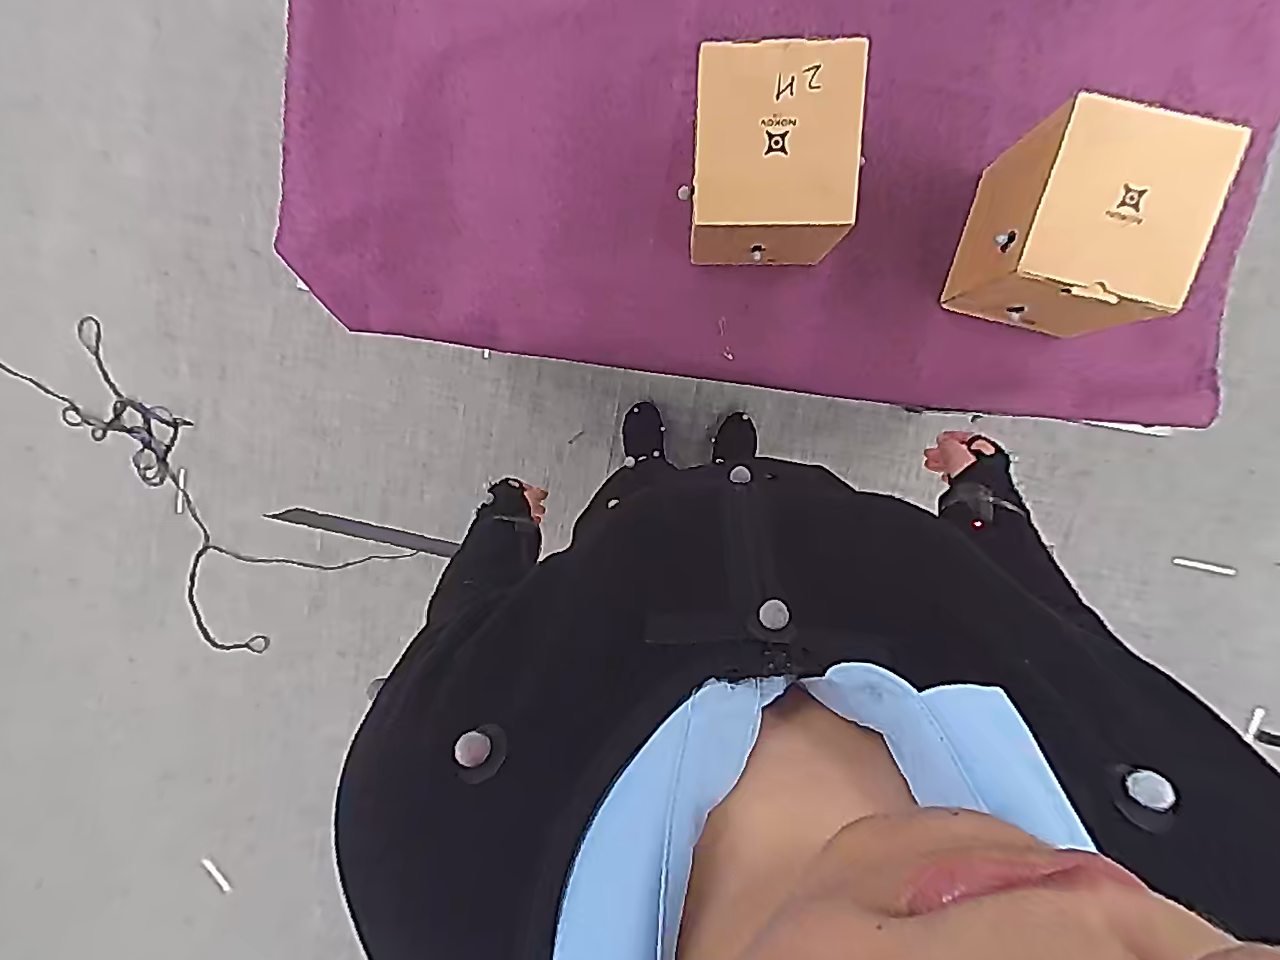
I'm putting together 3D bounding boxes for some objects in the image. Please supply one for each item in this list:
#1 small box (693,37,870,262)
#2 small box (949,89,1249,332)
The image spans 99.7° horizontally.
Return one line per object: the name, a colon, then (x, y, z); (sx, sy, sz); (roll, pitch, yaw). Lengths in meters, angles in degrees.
small box: (0.147, -0.359, 0.621); (0.168, 0.176, 0.179); (2, 98, 4)
small box: (0.483, -0.280, 0.604); (0.168, 0.176, 0.179); (15, 98, 3)
